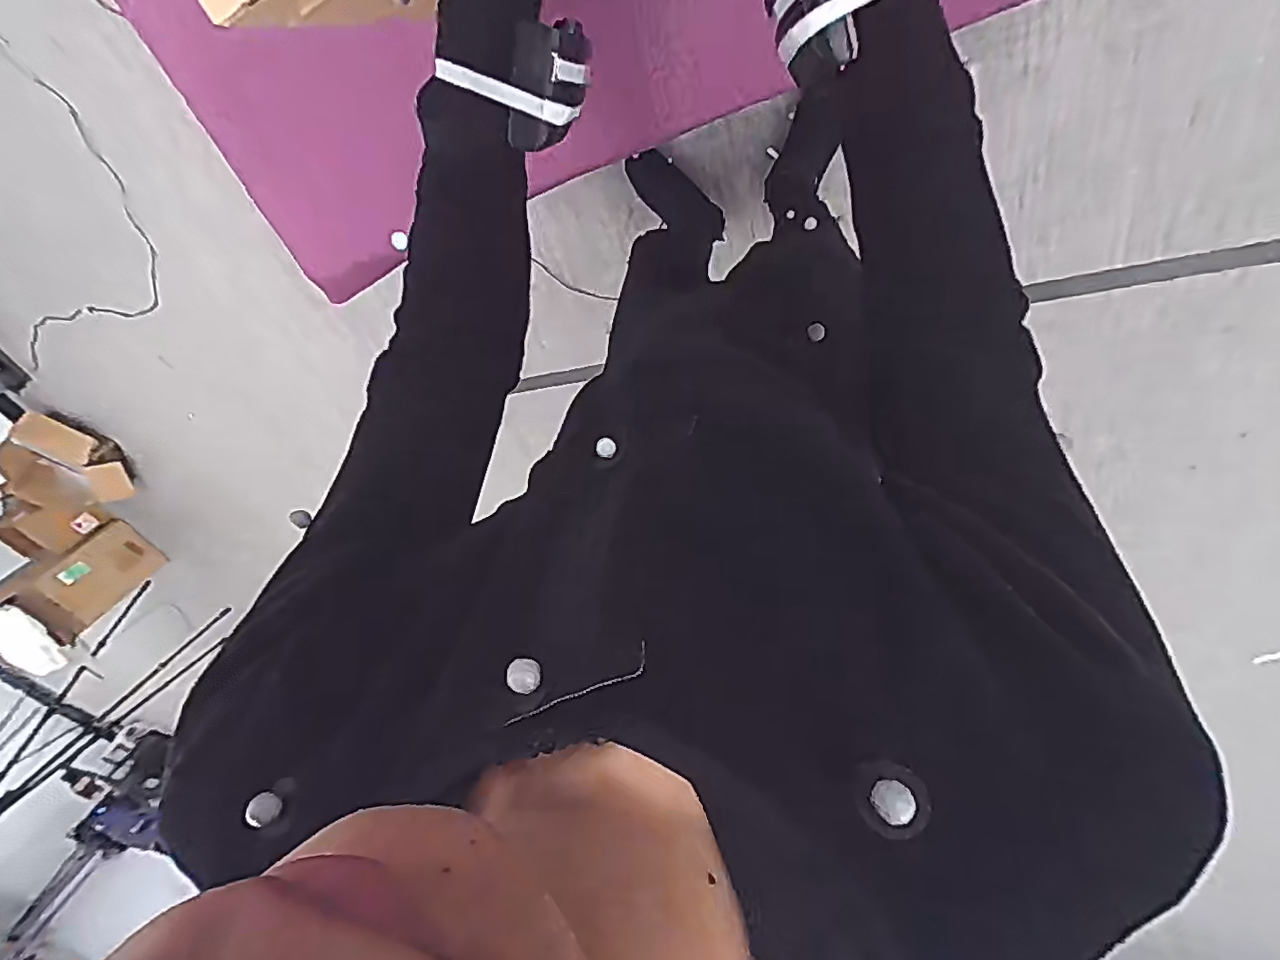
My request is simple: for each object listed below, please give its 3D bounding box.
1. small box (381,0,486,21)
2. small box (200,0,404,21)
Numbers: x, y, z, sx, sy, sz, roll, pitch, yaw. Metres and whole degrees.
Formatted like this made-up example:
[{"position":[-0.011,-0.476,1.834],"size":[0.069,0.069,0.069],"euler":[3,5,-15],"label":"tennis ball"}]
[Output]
[{"position":[-0.174,-0.547,0.472],"size":[0.168,0.176,0.179],"euler":[-9,126,27],"label":"small box"},{"position":[-0.229,-0.442,0.357],"size":[0.168,0.176,0.179],"euler":[-7,127,25],"label":"small box"}]
